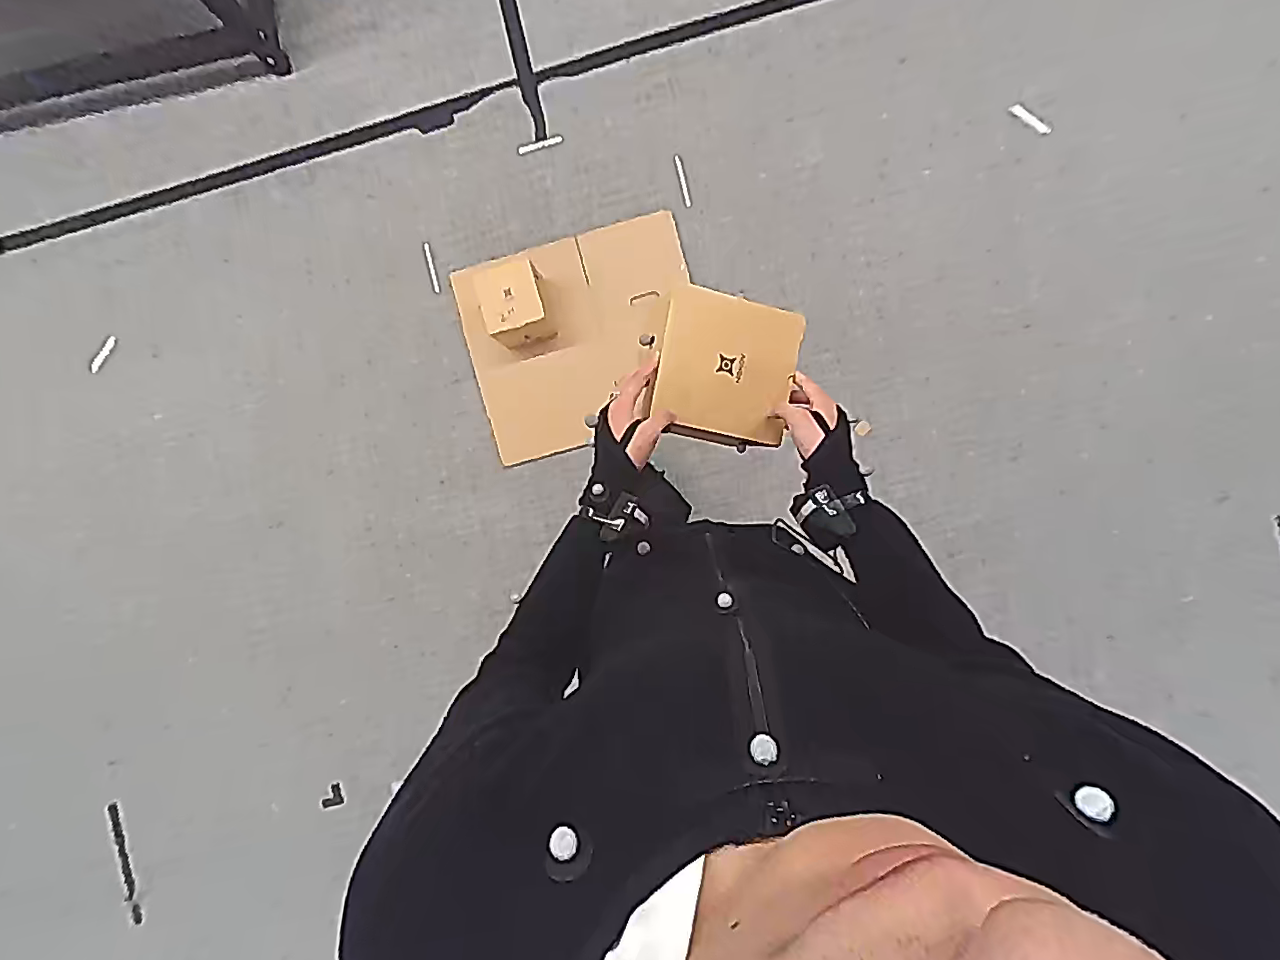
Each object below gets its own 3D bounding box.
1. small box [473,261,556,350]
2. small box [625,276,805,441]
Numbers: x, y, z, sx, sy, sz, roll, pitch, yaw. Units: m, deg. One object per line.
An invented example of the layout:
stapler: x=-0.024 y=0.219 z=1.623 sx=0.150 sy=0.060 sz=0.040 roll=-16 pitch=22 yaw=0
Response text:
small box: x=-0.352 y=-0.491 z=1.542 sx=0.168 sy=0.176 sz=0.179 roll=-16 pitch=91 yaw=4
small box: x=0.087 y=-0.148 z=0.723 sx=0.179 sy=0.176 sz=0.168 roll=11 pitch=93 yaw=-13
